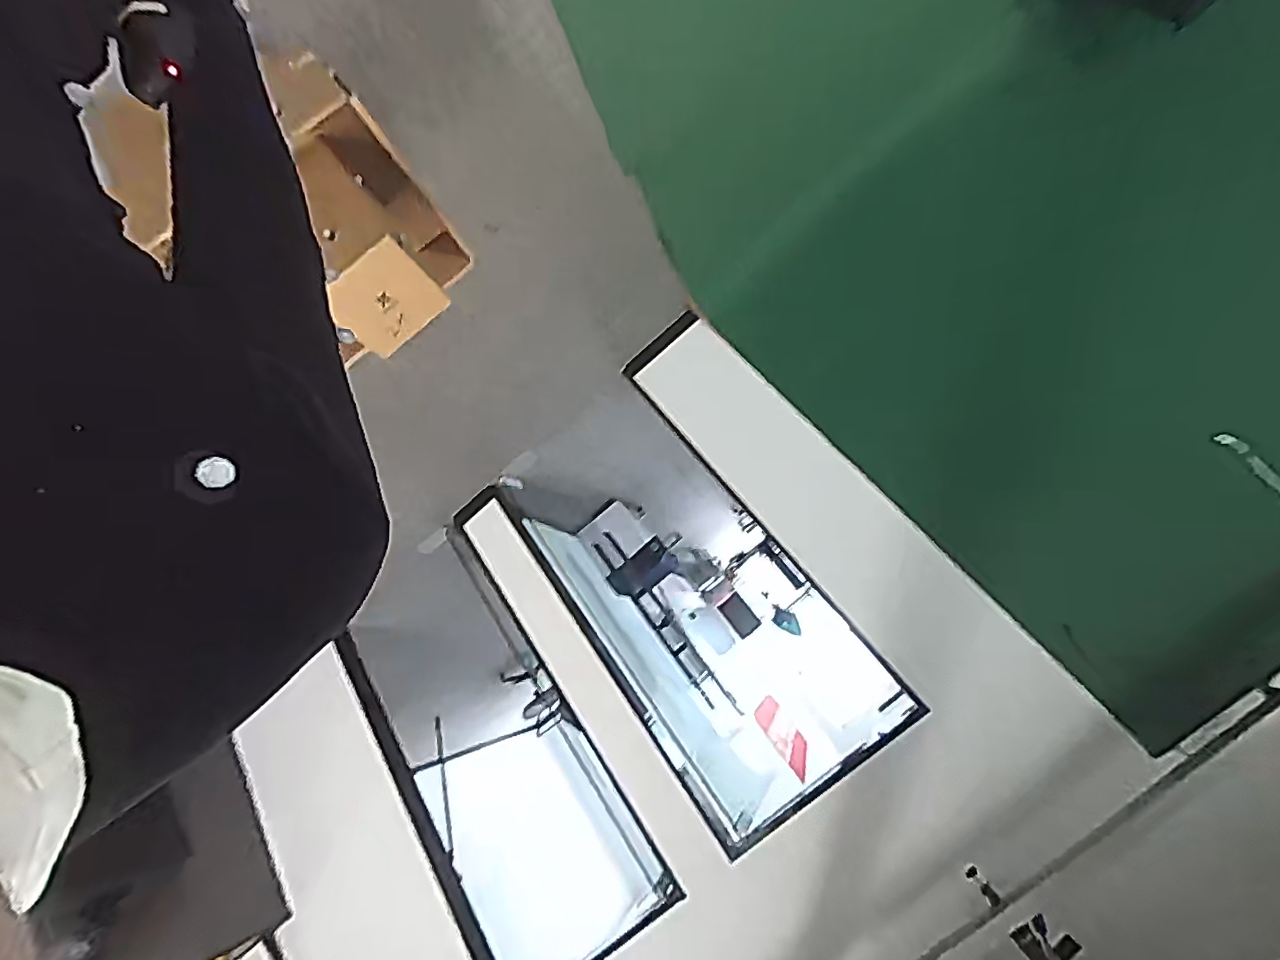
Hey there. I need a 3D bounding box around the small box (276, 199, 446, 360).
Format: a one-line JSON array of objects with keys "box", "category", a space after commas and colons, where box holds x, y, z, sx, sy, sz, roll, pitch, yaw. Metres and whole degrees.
[{"box": [-0.484, -0.352, 0.941, 0.168, 0.176, 0.179, -38, 156, 0], "category": "small box"}]
